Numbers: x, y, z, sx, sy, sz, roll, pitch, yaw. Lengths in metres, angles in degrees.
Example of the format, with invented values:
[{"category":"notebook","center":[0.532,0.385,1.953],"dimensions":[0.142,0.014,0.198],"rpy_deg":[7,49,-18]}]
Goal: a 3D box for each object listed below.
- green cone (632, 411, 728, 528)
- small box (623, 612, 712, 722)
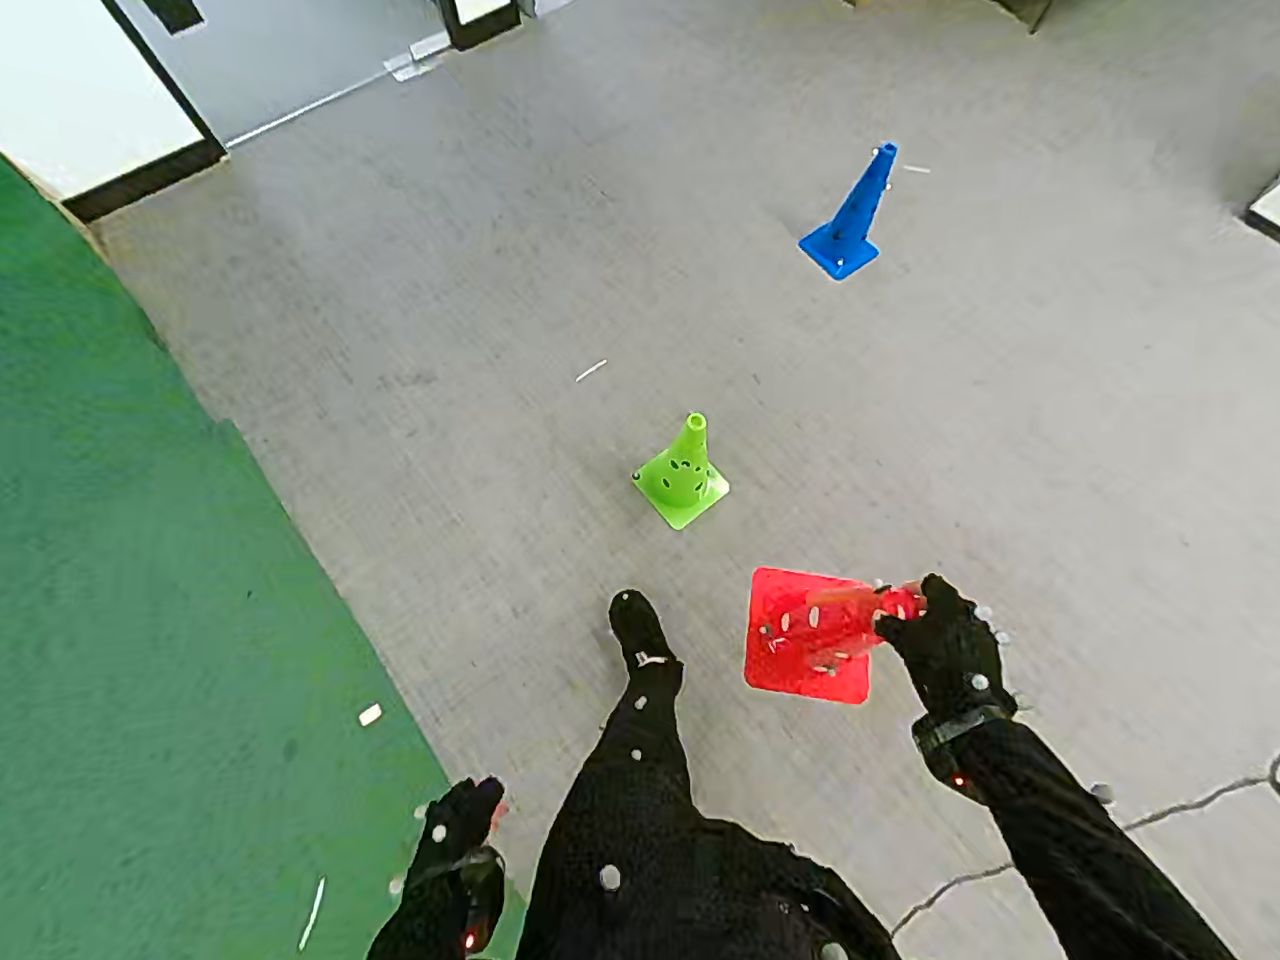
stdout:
[{"category":"green cone","center":[0.113,-0.057,1.284],"dimensions":[0.202,0.368,0.200],"rpy_deg":[-38,75,-15]},{"category":"small box","center":[0.057,0.416,1.224],"dimensions":[0.168,0.176,0.179],"rpy_deg":[-7,92,-8]}]
